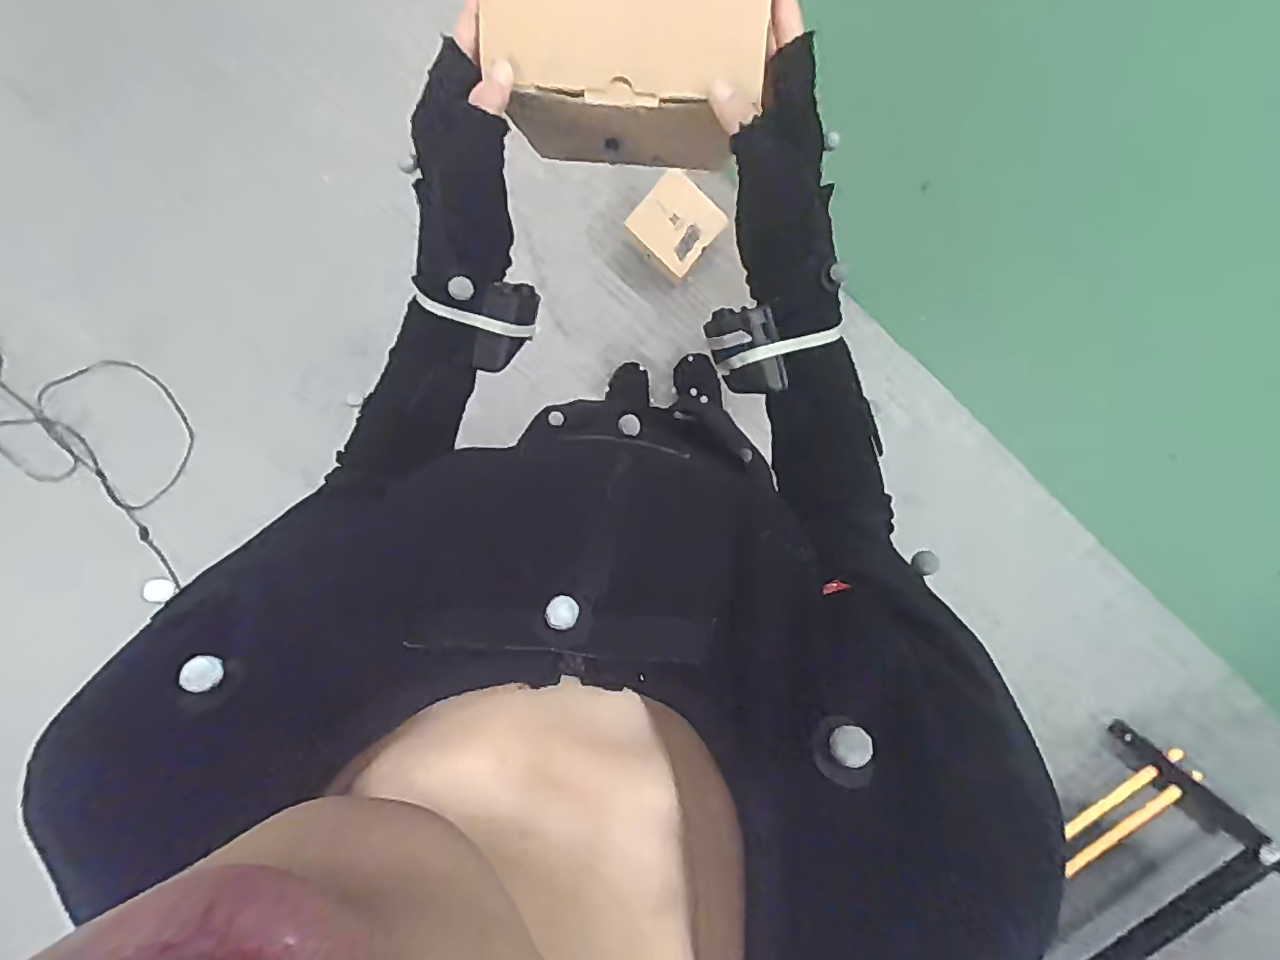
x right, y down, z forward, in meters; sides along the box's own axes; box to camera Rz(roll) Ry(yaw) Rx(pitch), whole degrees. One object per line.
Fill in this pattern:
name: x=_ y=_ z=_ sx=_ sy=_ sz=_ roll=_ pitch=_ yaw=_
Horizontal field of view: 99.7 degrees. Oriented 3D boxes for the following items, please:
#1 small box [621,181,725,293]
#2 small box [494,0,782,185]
small box: x=0.076 y=-0.563 z=1.277 sx=0.179 sy=0.176 sz=0.168 roll=41 pitch=100 yaw=-7
small box: x=0.002 y=-0.324 z=0.373 sx=0.168 sy=0.176 sz=0.179 roll=4 pitch=108 yaw=0
